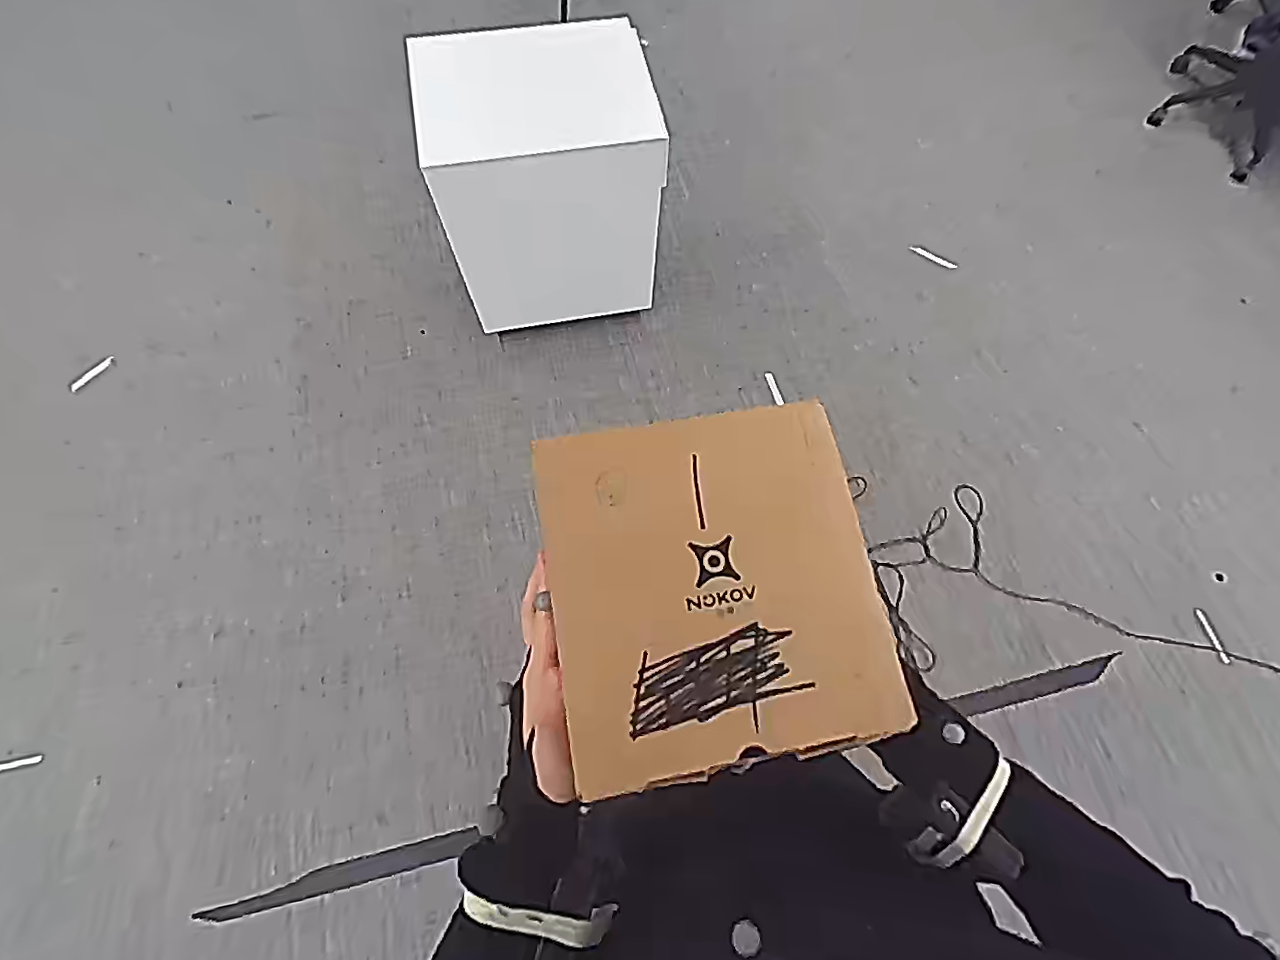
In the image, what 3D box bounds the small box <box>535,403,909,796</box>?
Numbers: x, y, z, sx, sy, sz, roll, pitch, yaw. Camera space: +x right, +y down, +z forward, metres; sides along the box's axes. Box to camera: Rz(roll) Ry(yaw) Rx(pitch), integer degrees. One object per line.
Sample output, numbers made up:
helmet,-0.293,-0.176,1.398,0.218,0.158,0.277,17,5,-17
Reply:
small box,0.032,0.071,0.351,0.168,0.176,0.179,-9,75,-7
